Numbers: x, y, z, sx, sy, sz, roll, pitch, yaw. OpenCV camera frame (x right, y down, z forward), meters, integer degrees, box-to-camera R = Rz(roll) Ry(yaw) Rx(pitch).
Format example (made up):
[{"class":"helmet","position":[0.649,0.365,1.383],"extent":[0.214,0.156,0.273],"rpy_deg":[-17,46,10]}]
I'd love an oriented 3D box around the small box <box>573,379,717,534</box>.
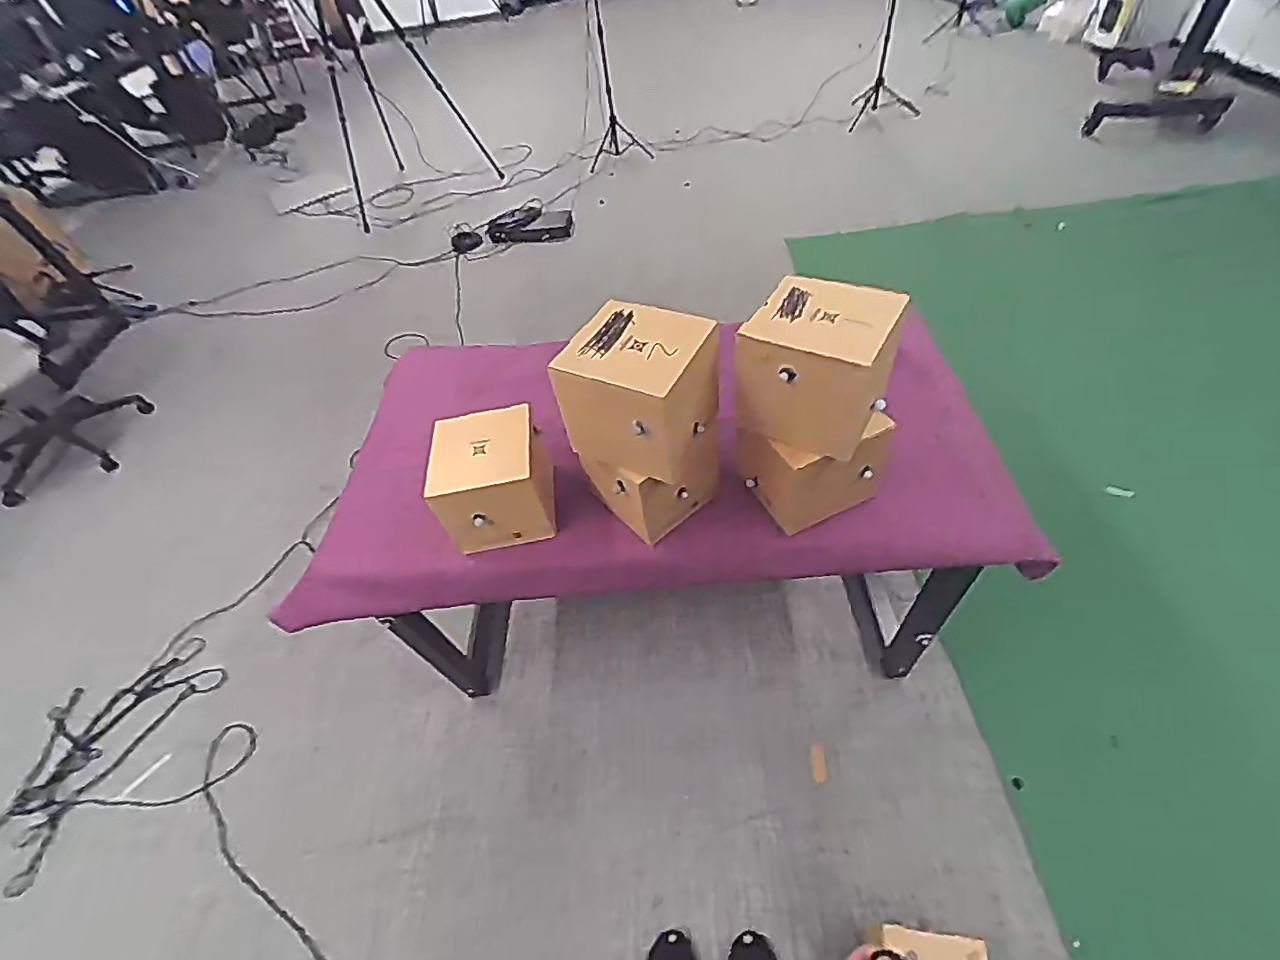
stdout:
[{"class":"small box","position":[0.016,-0.032,0.912],"extent":[0.168,0.176,0.179],"rpy_deg":[-36,54,-20]}]

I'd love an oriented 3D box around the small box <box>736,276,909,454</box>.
[{"class":"small box","position":[0.250,-0.162,0.770],"extent":[0.179,0.176,0.168],"rpy_deg":[23,56,26]}]

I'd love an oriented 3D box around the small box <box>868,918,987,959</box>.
[{"class":"small box","position":[0.528,0.929,0.995],"extent":[0.179,0.176,0.168],"rpy_deg":[2,52,11]}]

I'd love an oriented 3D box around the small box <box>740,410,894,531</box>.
[{"class":"small box","position":[0.274,-0.048,0.885],"extent":[0.179,0.176,0.168],"rpy_deg":[-23,49,-9]}]

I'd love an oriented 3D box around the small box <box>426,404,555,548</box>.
[{"class":"small box","position":[-0.246,0.001,0.931],"extent":[0.168,0.176,0.179],"rpy_deg":[-11,49,0]}]
